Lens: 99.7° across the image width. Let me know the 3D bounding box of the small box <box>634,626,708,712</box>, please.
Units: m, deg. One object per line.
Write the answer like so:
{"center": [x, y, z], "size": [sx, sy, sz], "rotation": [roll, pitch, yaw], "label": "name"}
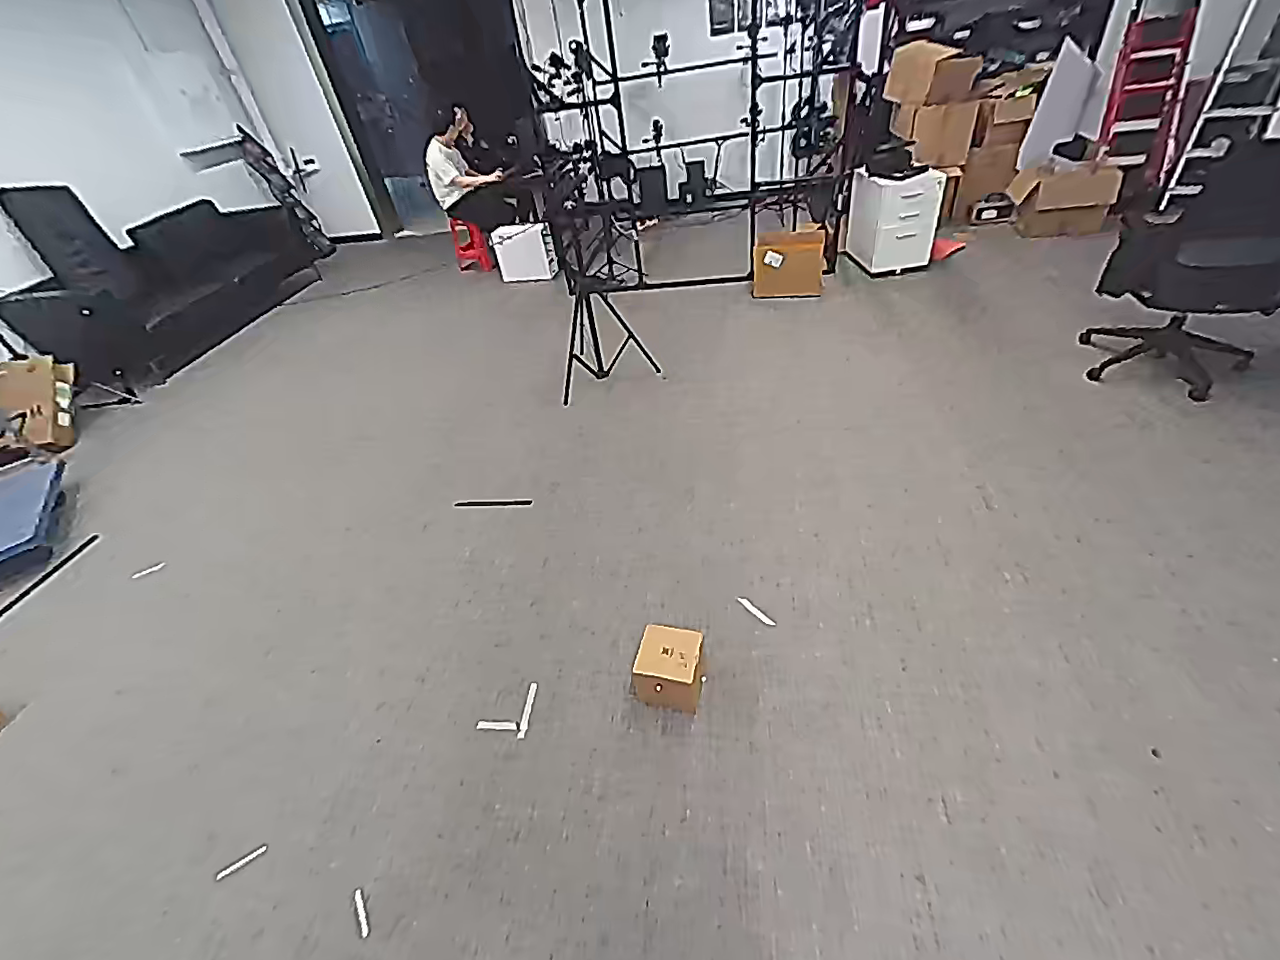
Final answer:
{"center": [0.097, 0.559, 1.595], "size": [0.179, 0.176, 0.168], "rotation": [5, 42, 17], "label": "small box"}
